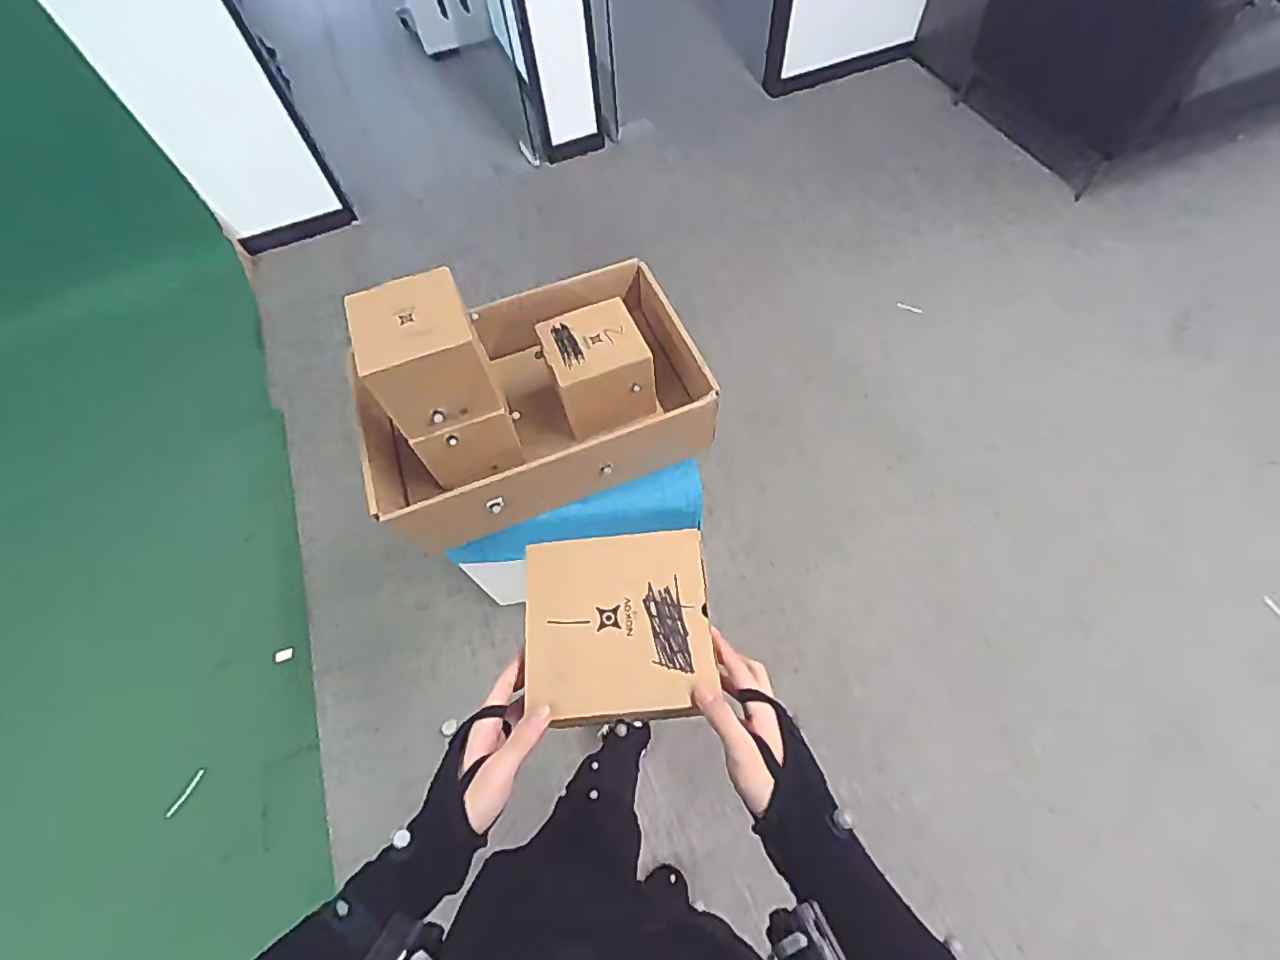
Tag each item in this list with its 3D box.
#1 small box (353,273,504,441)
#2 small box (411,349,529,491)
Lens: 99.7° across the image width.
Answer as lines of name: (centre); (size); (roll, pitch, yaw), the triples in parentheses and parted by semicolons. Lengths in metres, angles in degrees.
small box: (-0.335, -0.195, 0.873); (0.168, 0.176, 0.179); (-20, 61, -8)
small box: (-0.322, -0.109, 1.011); (0.168, 0.176, 0.179); (-20, 60, -7)
